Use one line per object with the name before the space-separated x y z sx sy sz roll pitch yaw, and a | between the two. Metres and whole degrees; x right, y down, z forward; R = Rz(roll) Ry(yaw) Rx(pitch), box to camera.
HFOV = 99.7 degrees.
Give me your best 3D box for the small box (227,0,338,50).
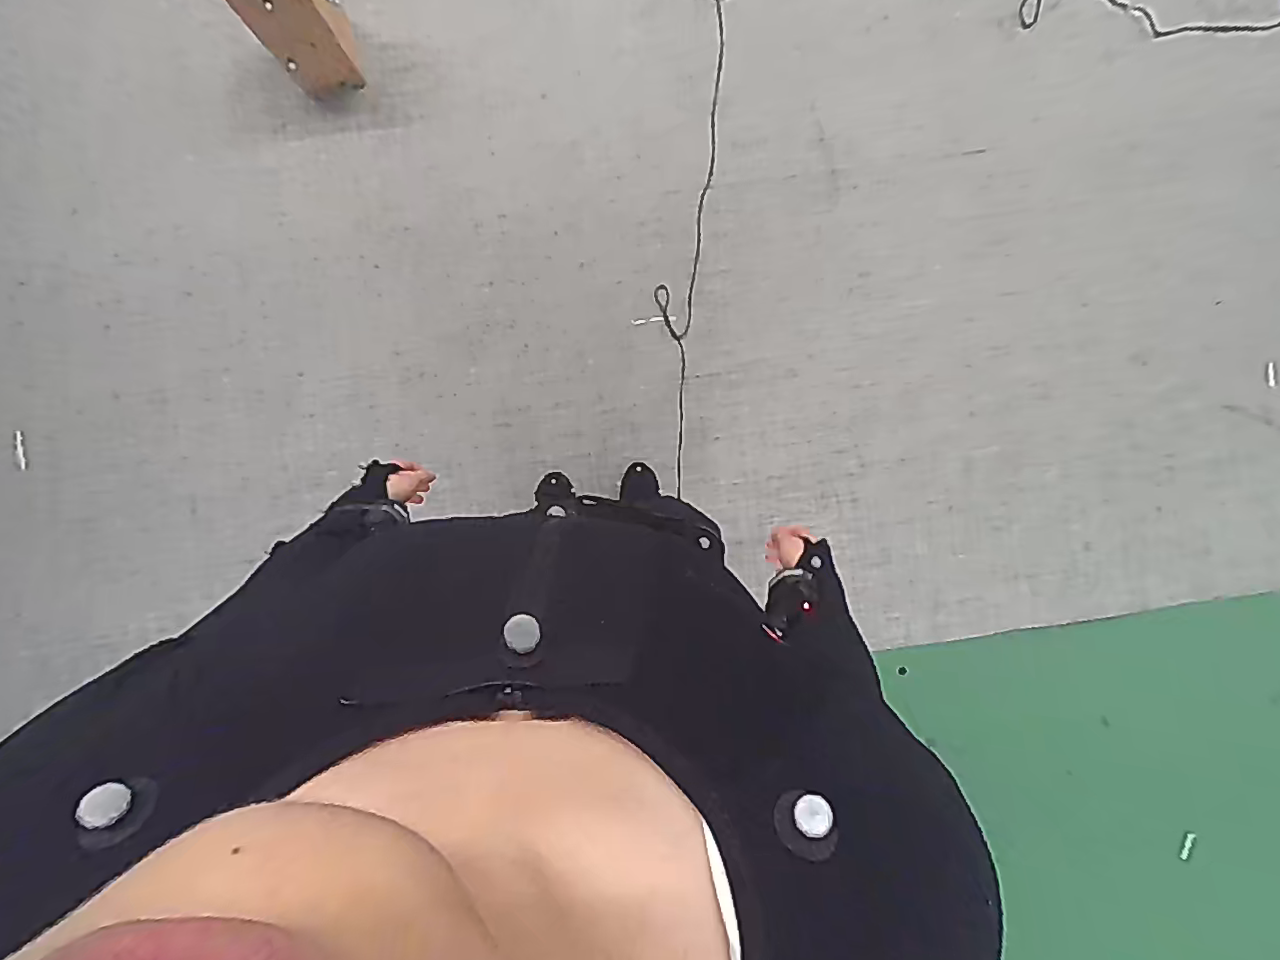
small box | -0.818 -1.112 1.213 0.179 0.176 0.168 -10 92 -2
